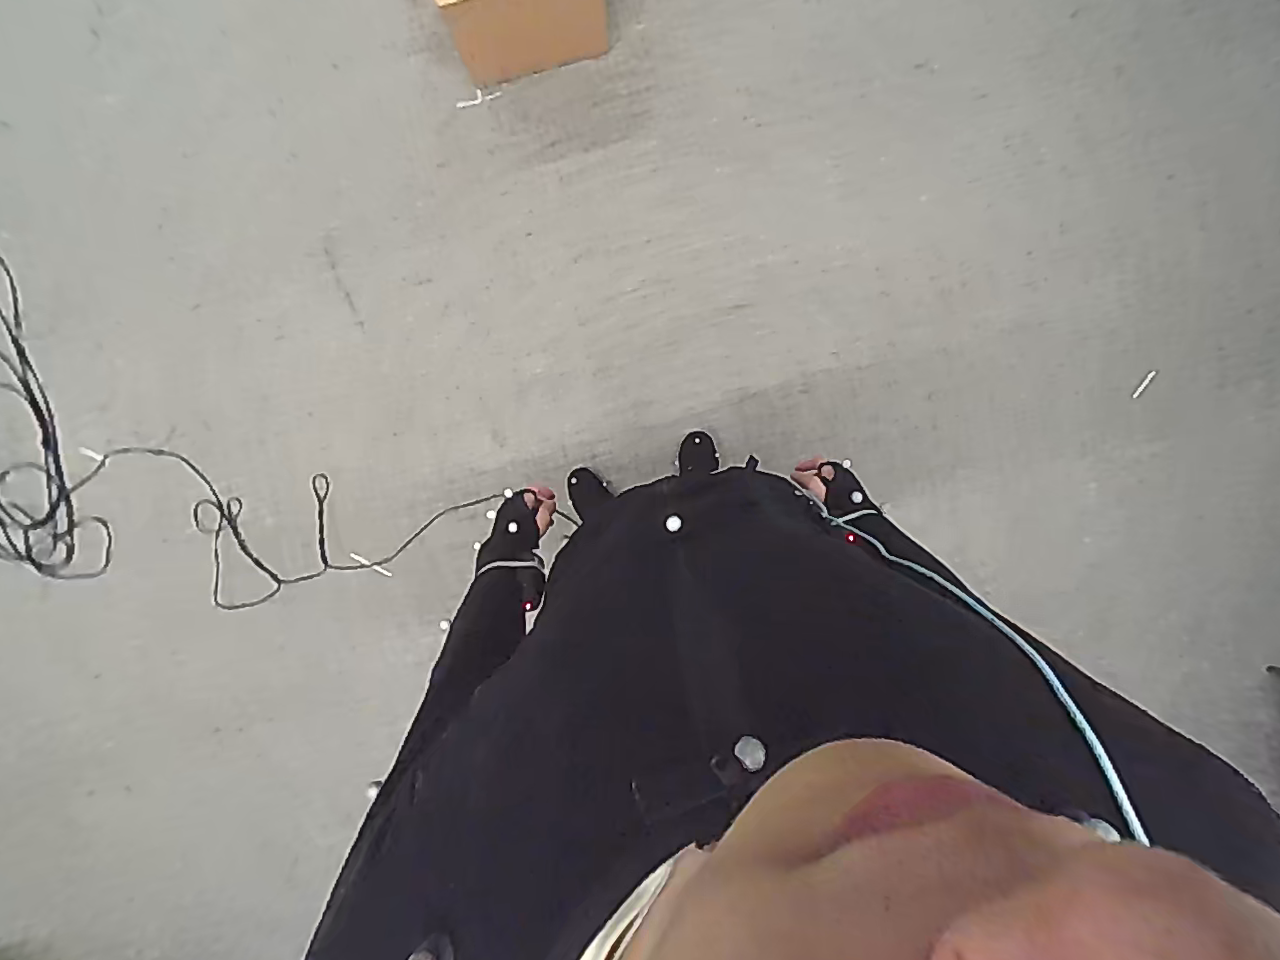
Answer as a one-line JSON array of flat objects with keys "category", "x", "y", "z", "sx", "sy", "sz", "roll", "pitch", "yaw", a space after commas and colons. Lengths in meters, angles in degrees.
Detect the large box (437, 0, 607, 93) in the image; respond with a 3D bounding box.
[{"category": "large box", "x": -0.321, "y": -1.302, "z": 1.400, "sx": 0.408, "sy": 0.320, "sz": 0.320, "roll": -15, "pitch": 94, "yaw": 1}]
